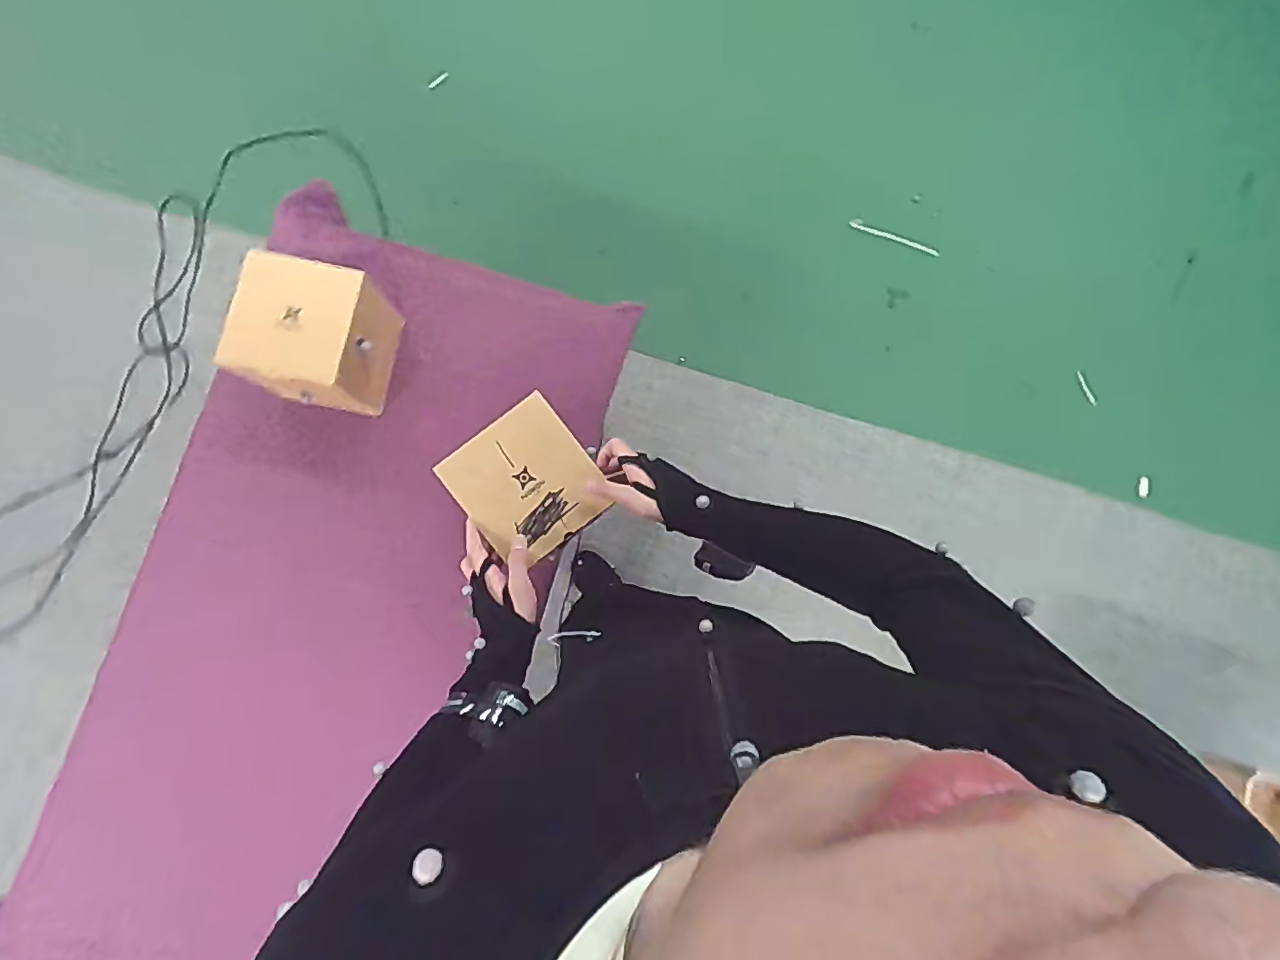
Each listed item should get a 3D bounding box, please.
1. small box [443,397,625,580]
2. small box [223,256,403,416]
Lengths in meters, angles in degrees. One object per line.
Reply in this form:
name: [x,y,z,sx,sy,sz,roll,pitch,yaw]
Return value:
small box: [-0.133,0.011,0.752,0.168,0.176,0.179,-36,90,-3]
small box: [-0.493,-0.214,0.846,0.168,0.176,0.179,11,84,-2]
